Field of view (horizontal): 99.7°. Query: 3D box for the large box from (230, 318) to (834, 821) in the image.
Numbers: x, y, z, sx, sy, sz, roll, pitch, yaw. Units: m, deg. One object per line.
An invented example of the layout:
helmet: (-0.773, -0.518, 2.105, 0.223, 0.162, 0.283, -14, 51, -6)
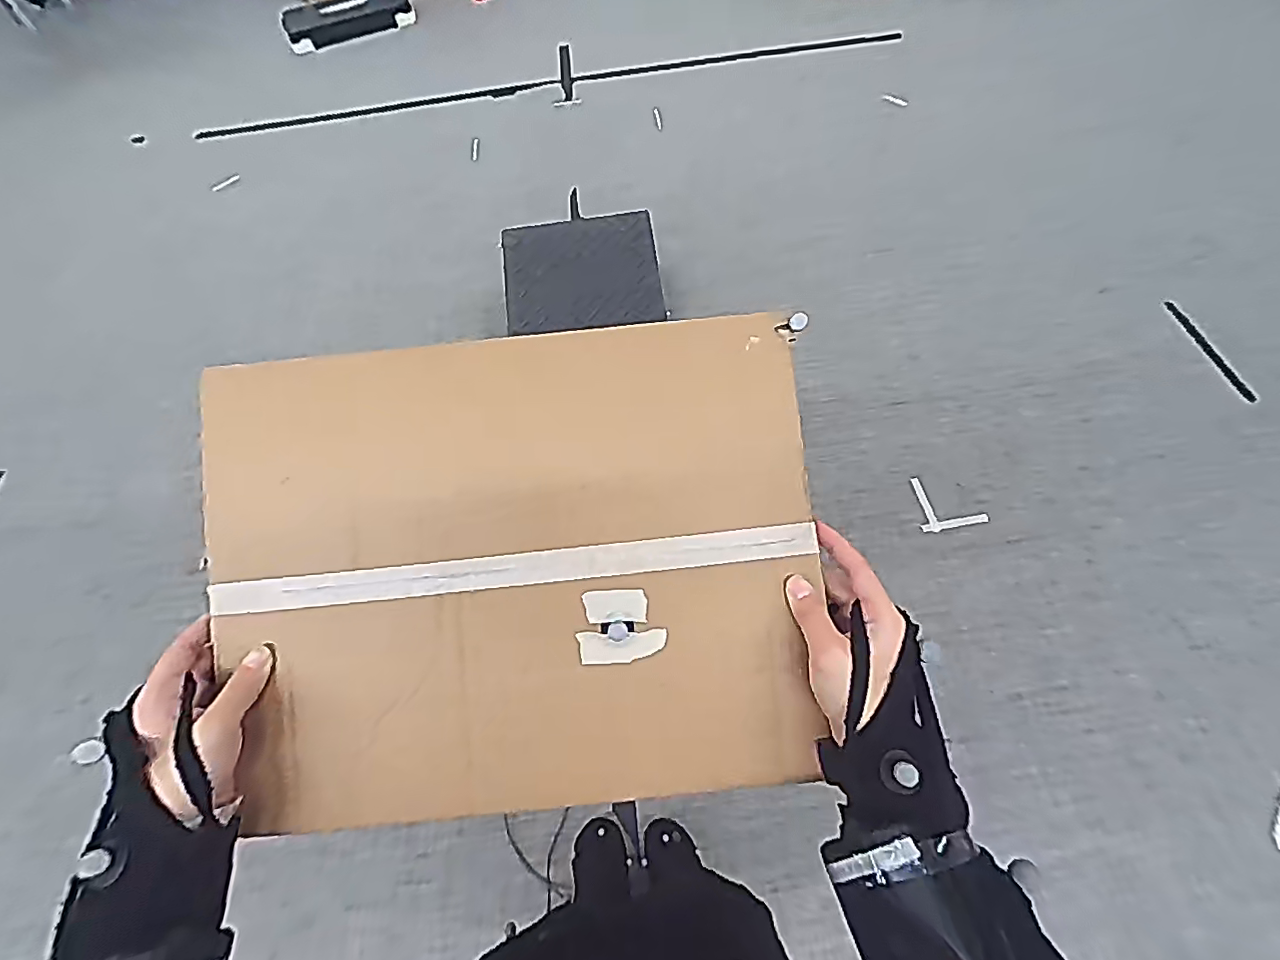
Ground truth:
large box: (-0.082, 0.069, 0.523, 0.408, 0.320, 0.320, -6, 86, 0)
